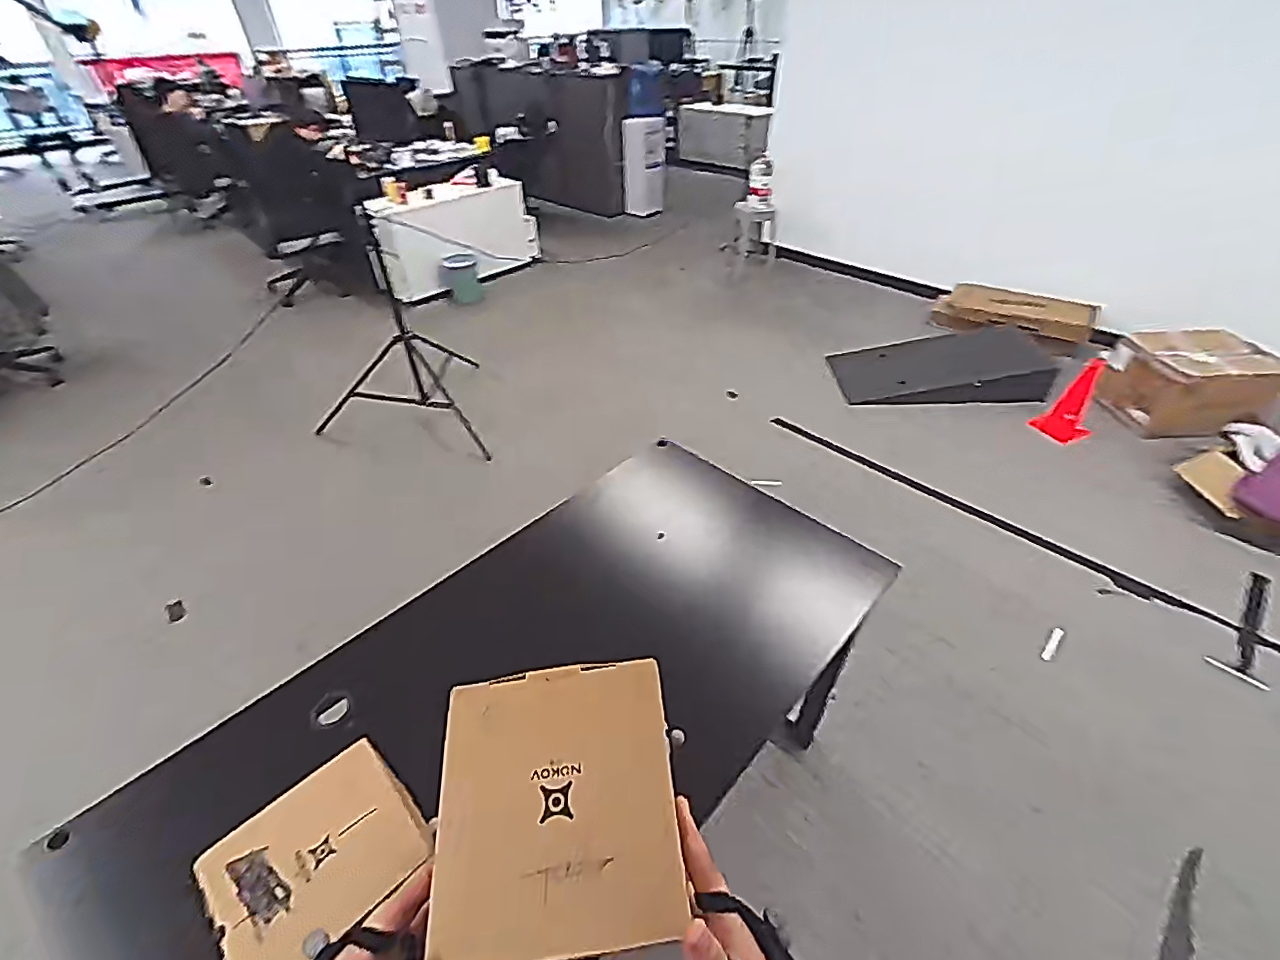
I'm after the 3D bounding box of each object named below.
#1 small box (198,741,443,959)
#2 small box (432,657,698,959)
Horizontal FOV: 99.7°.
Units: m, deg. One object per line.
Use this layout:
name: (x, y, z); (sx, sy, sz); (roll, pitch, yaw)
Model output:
small box: (-0.325, 0.440, 0.592); (0.179, 0.176, 0.168); (-33, 50, -32)
small box: (-0.049, 0.268, 0.443); (0.168, 0.176, 0.179); (-8, 51, 0)
